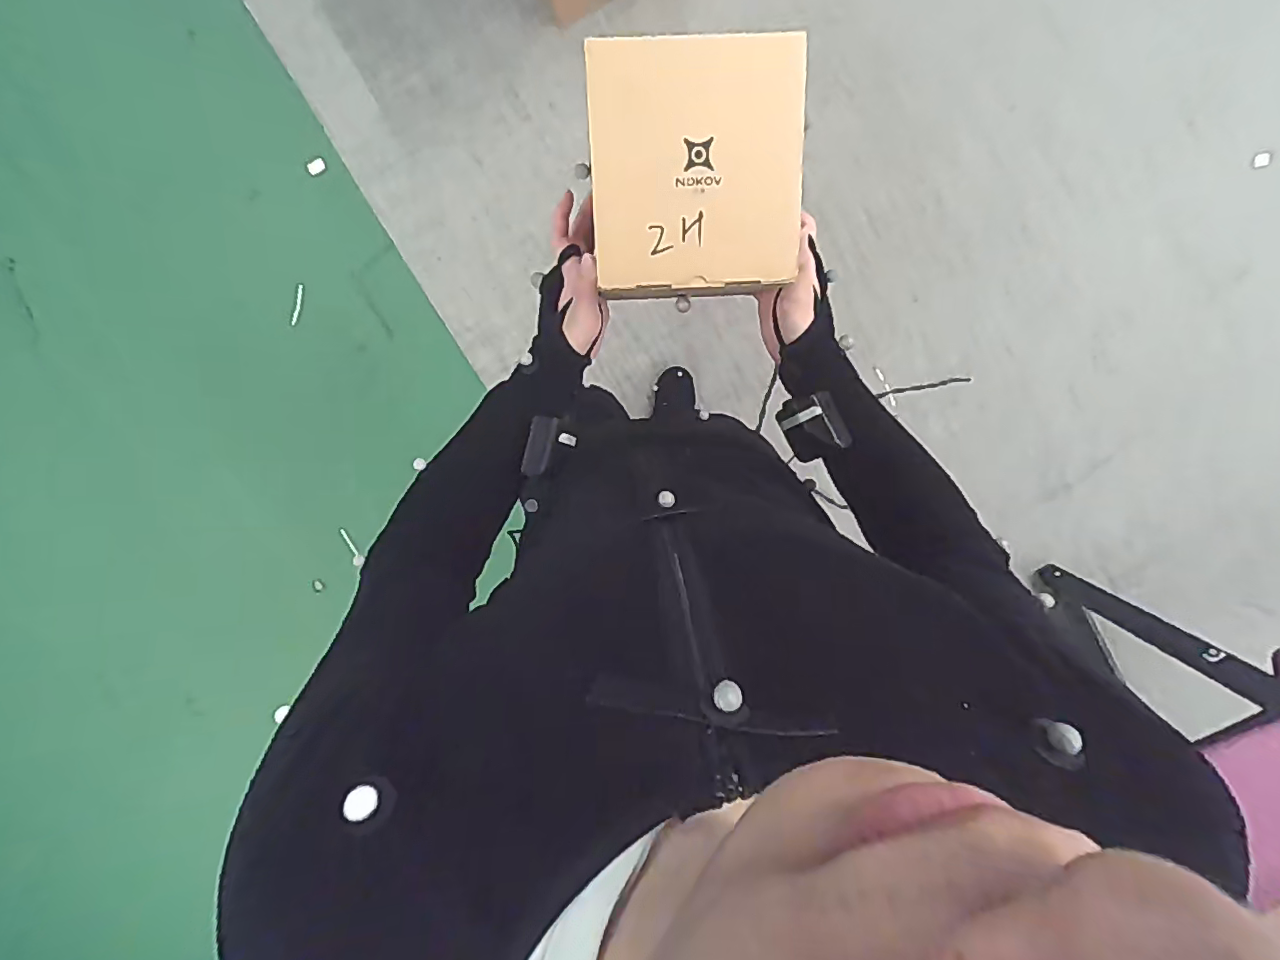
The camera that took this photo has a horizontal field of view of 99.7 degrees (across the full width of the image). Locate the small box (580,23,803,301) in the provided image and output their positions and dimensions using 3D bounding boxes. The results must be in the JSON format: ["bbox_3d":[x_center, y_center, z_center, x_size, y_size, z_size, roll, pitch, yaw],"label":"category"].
[{"bbox_3d":[0.035,-0.260,0.483,0.168,0.176,0.179,-2,105,-1],"label":"small box"}]
